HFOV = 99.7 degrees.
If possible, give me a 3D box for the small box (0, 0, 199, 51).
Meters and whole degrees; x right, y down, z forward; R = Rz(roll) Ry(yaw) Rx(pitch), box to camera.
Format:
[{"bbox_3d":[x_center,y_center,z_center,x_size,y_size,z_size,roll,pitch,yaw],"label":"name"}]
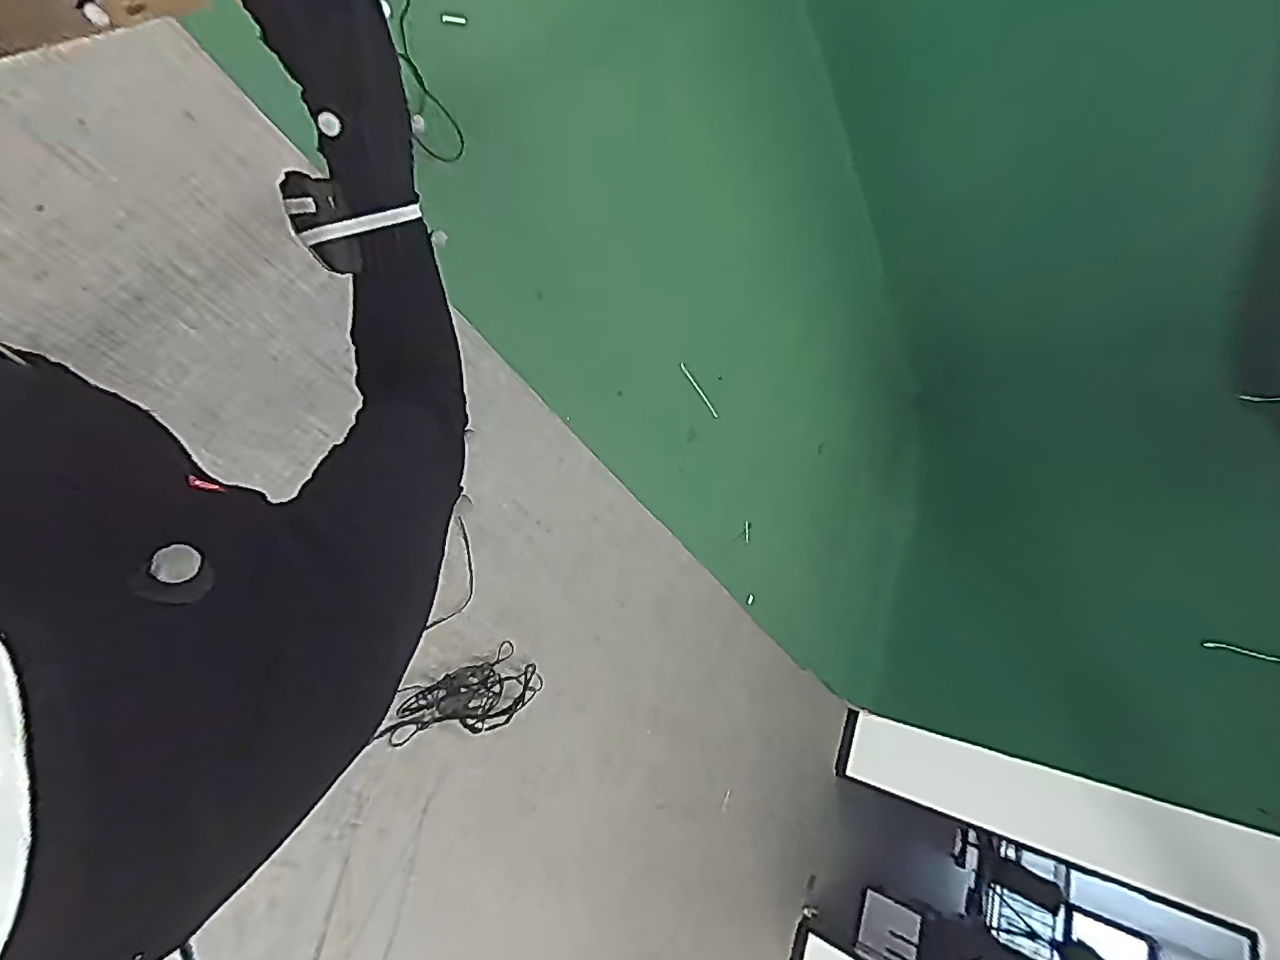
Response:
[{"bbox_3d":[-0.349,-0.368,0.277,0.168,0.176,0.179,-51,133,-31],"label":"small box"}]
